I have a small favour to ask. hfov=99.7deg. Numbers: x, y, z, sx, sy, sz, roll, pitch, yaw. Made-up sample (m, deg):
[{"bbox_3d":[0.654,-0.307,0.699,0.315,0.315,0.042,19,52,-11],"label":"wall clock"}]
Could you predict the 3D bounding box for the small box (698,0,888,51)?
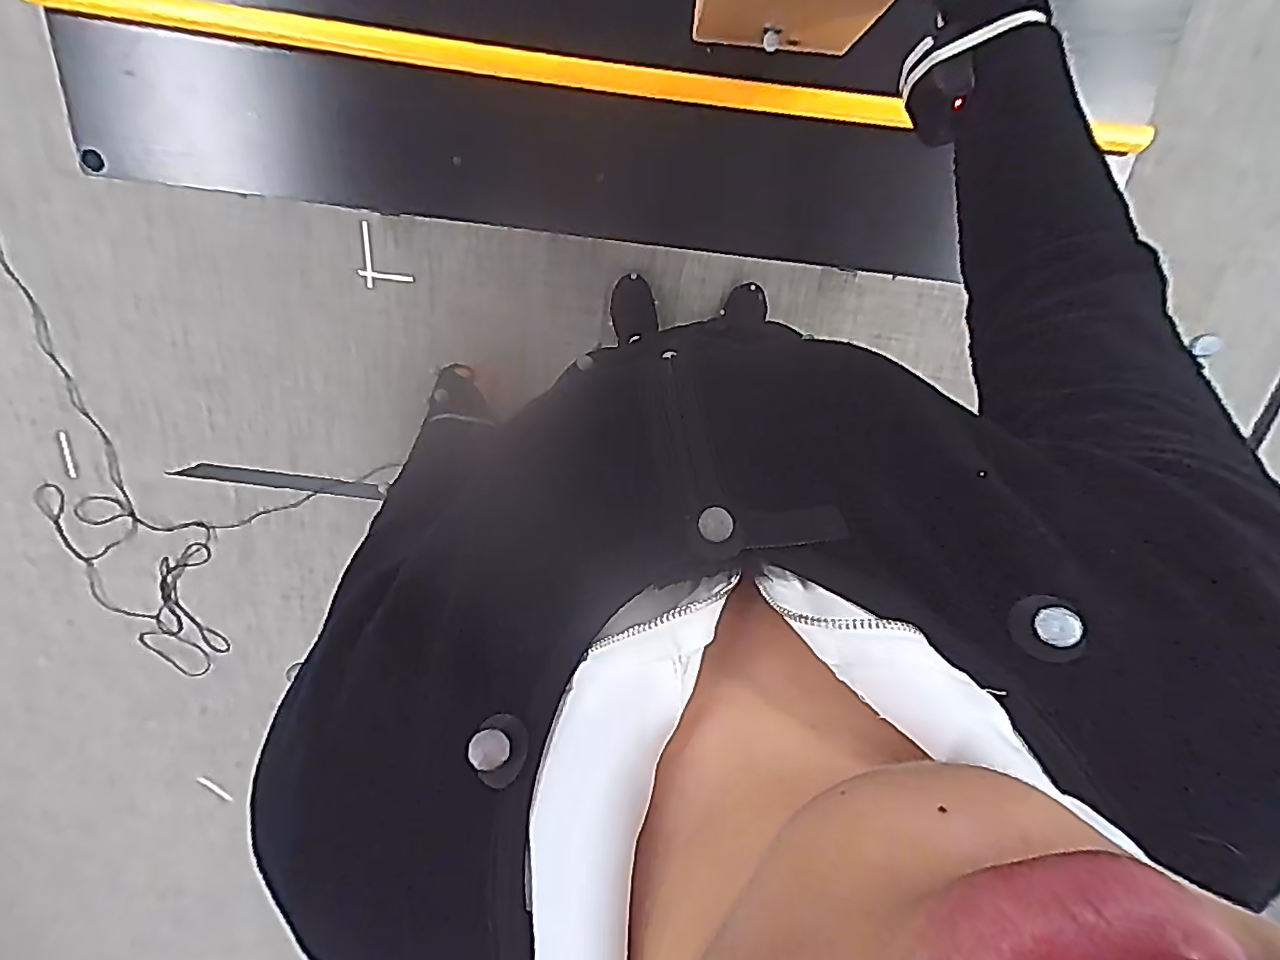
[{"bbox_3d":[0.147,-0.524,0.480,0.168,0.176,0.179,5,112,-1],"label":"small box"}]
